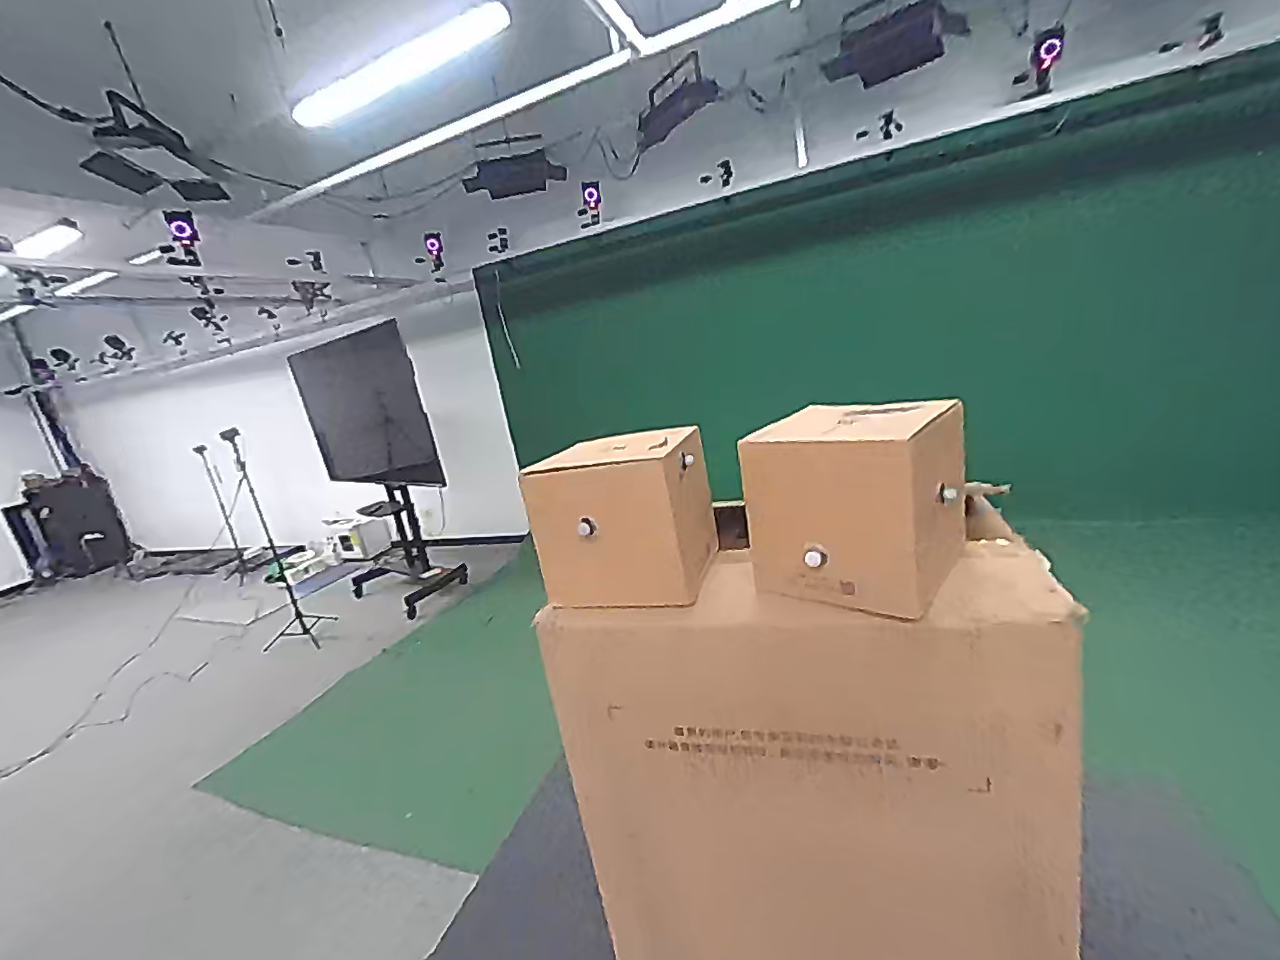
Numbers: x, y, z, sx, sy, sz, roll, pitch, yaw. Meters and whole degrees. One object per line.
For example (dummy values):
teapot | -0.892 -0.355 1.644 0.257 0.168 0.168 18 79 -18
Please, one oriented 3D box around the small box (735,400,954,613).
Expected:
small box | 0.223 0.017 0.578 0.168 0.176 0.179 3 20 43

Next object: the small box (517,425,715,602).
small box | -0.019 0.041 0.670 0.179 0.176 0.168 -8 15 21
